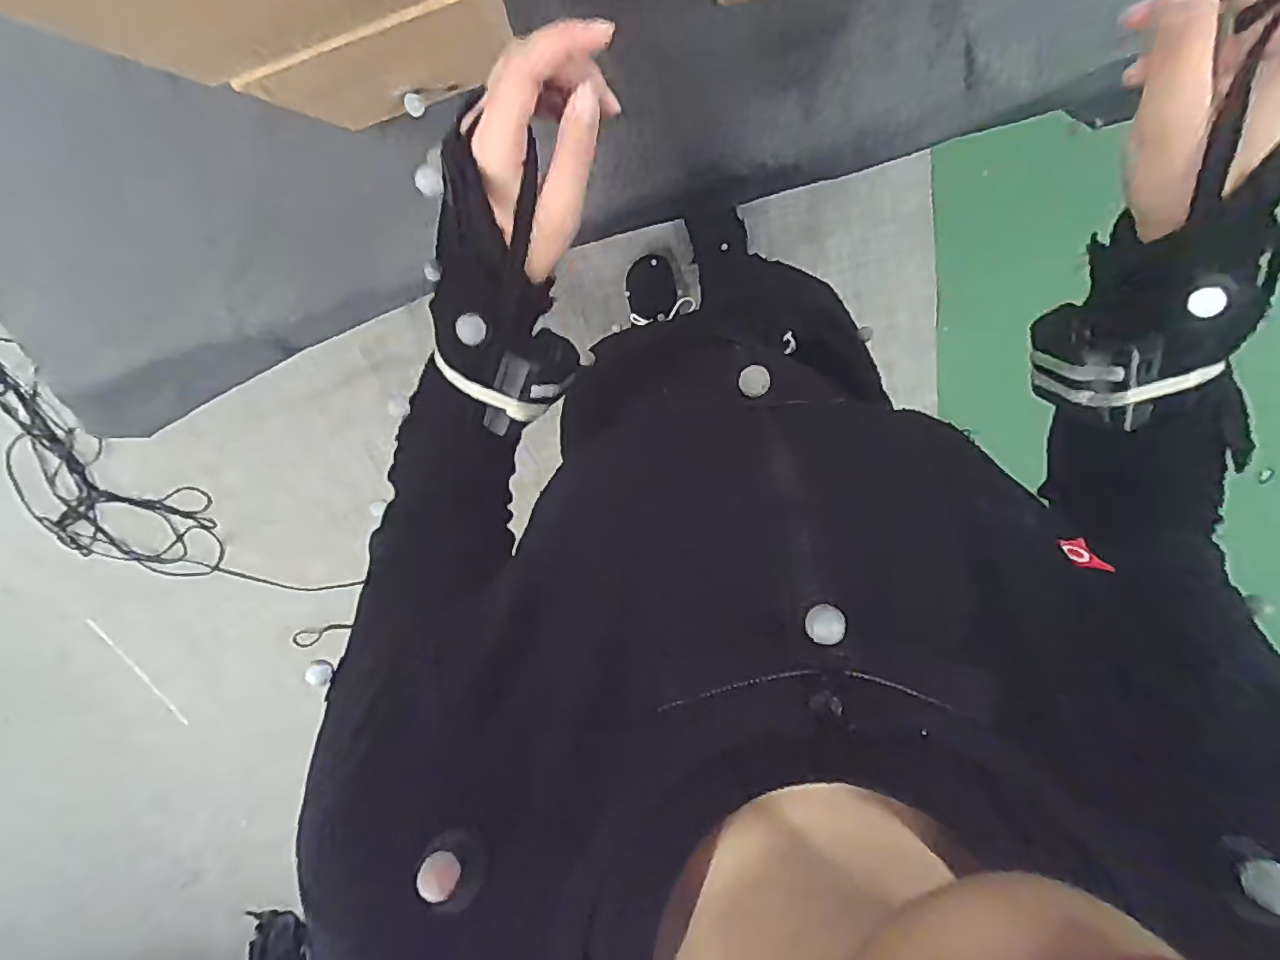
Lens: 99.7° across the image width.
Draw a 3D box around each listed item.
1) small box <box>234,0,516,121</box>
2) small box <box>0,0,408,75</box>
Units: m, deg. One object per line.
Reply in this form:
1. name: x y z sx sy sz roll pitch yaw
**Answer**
1. small box: -0.204 -0.381 0.372 0.168 0.176 0.179 -15 115 7
2. small box: -0.210 -0.310 0.225 0.179 0.176 0.168 -15 113 8
